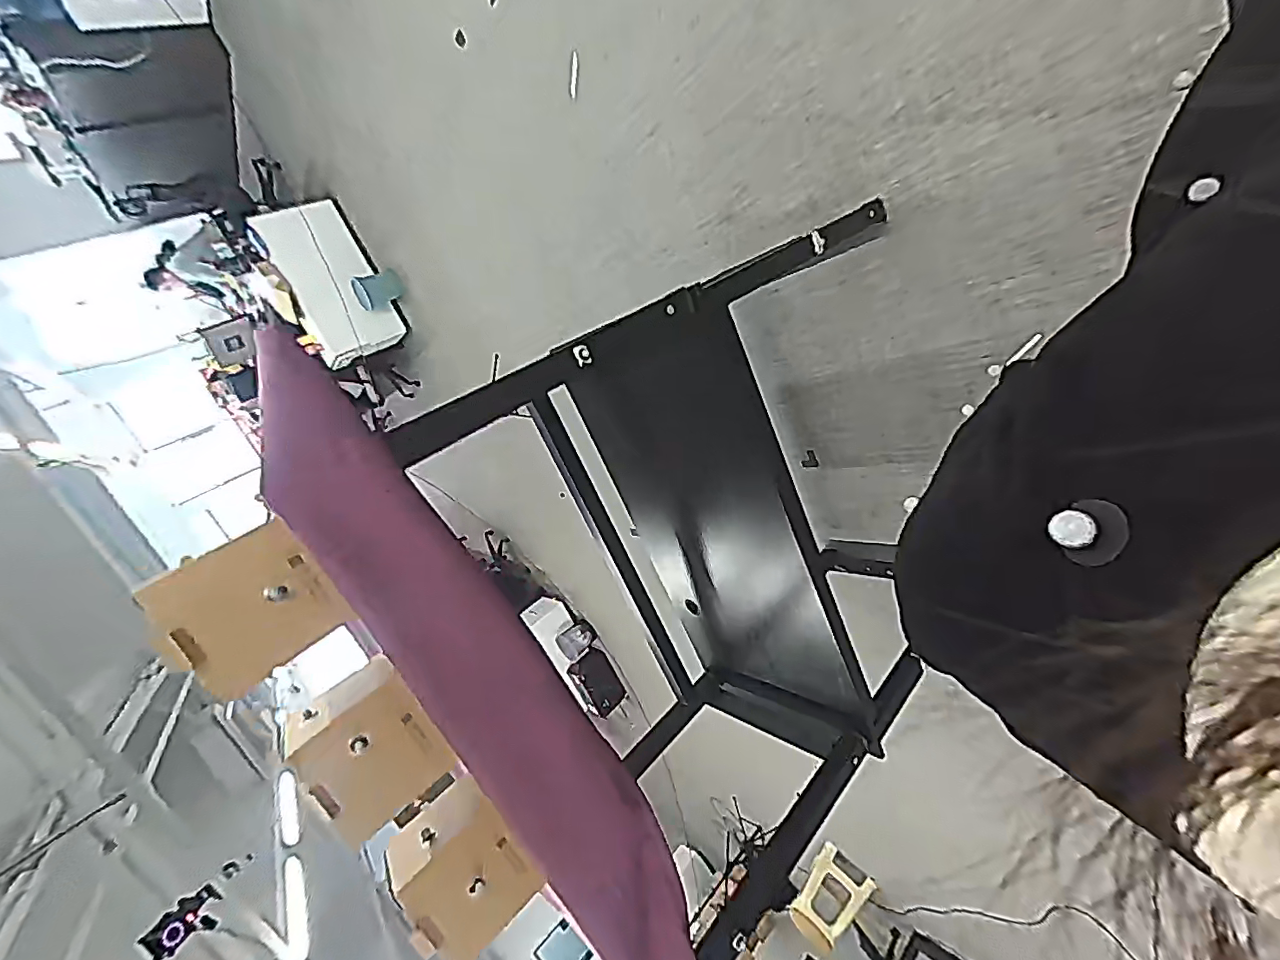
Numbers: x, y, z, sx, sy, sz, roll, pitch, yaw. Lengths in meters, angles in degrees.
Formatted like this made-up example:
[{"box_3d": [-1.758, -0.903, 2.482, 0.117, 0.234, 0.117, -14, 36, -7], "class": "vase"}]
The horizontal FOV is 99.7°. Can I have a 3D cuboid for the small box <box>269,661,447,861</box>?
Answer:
[{"box_3d": [-0.410, 0.395, 0.798, 0.179, 0.176, 0.168, -7, 113, 57], "class": "small box"}]

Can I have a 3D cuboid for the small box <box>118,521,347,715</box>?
[{"box_3d": [-0.513, 0.167, 0.711, 0.179, 0.176, 0.168, -12, 110, 58], "class": "small box"}]

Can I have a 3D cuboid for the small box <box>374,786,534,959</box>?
[{"box_3d": [-0.295, 0.632, 0.865, 0.168, 0.176, 0.179, 59, 149, -6], "class": "small box"}]
